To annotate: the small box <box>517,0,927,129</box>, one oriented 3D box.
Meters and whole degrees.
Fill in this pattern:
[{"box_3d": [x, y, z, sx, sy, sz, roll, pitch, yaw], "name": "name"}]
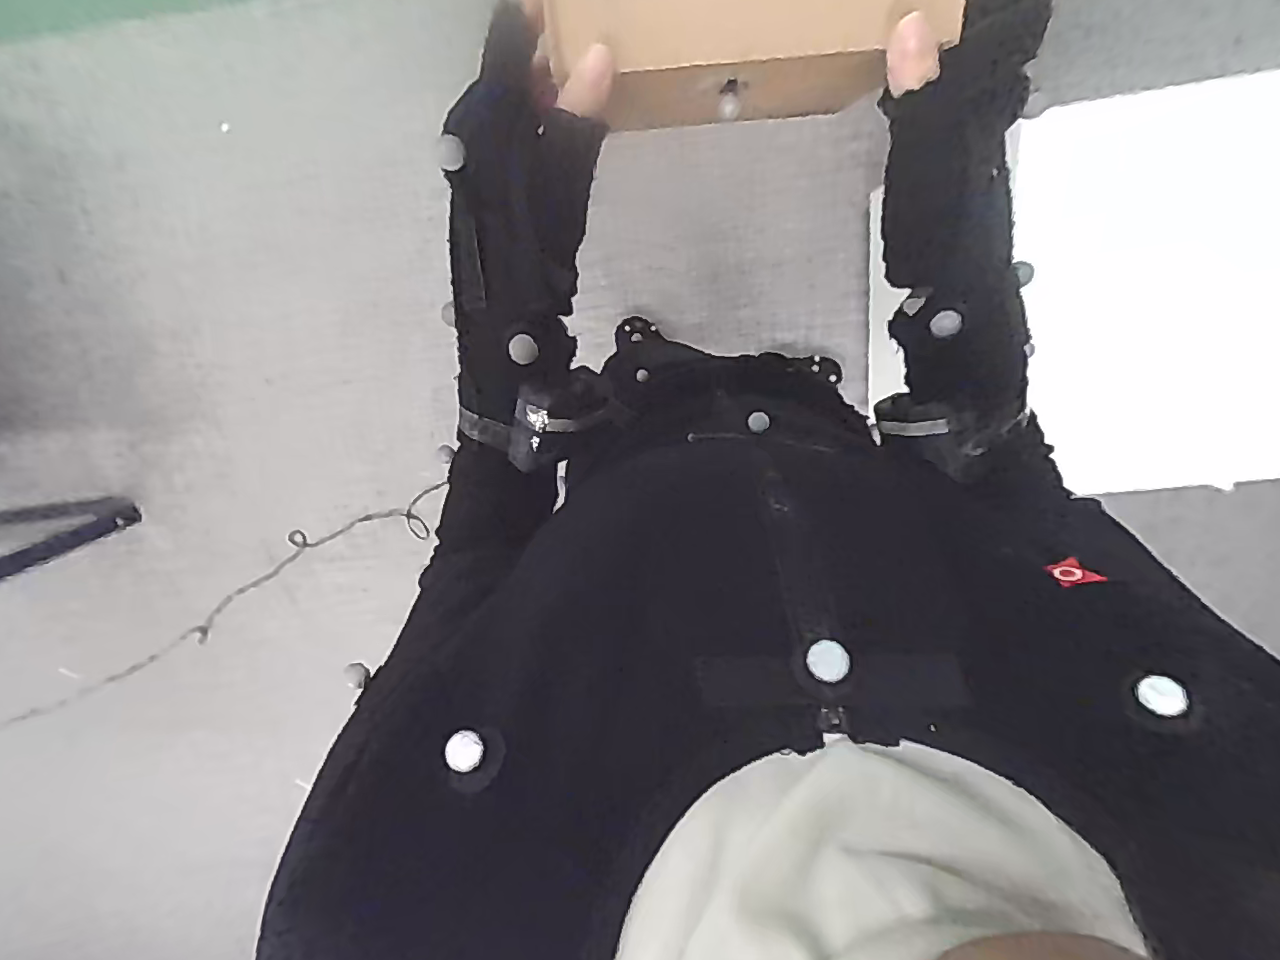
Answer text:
[{"box_3d": [0.032, -0.295, 0.277, 0.179, 0.176, 0.168, -4, 115, 3], "name": "small box"}]
